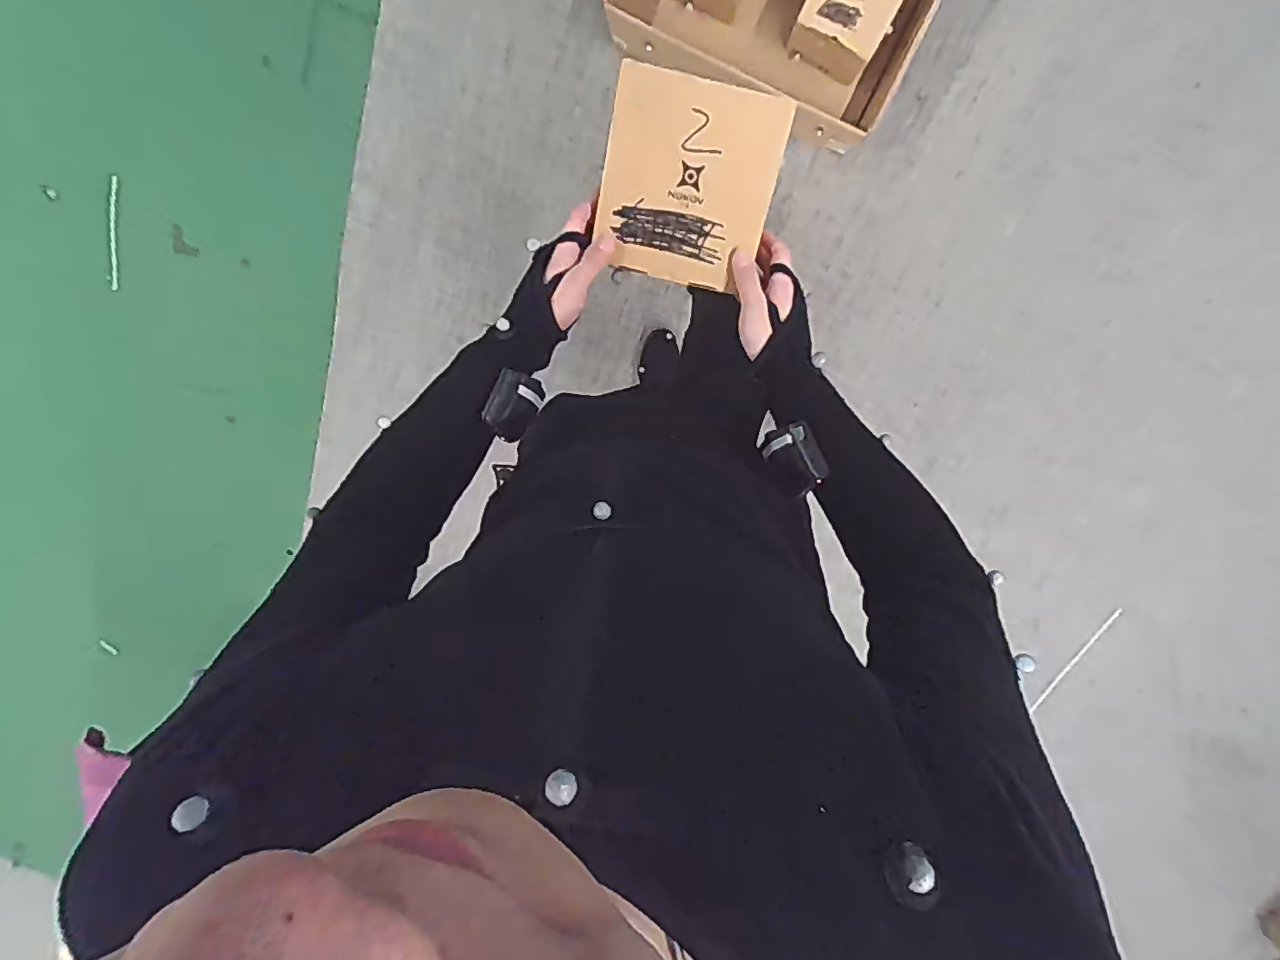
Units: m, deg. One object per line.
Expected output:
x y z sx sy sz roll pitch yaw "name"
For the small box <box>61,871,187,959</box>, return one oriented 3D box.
-1.302 1.148 1.374 0.168 0.176 0.179 21 112 -5 "small box"
